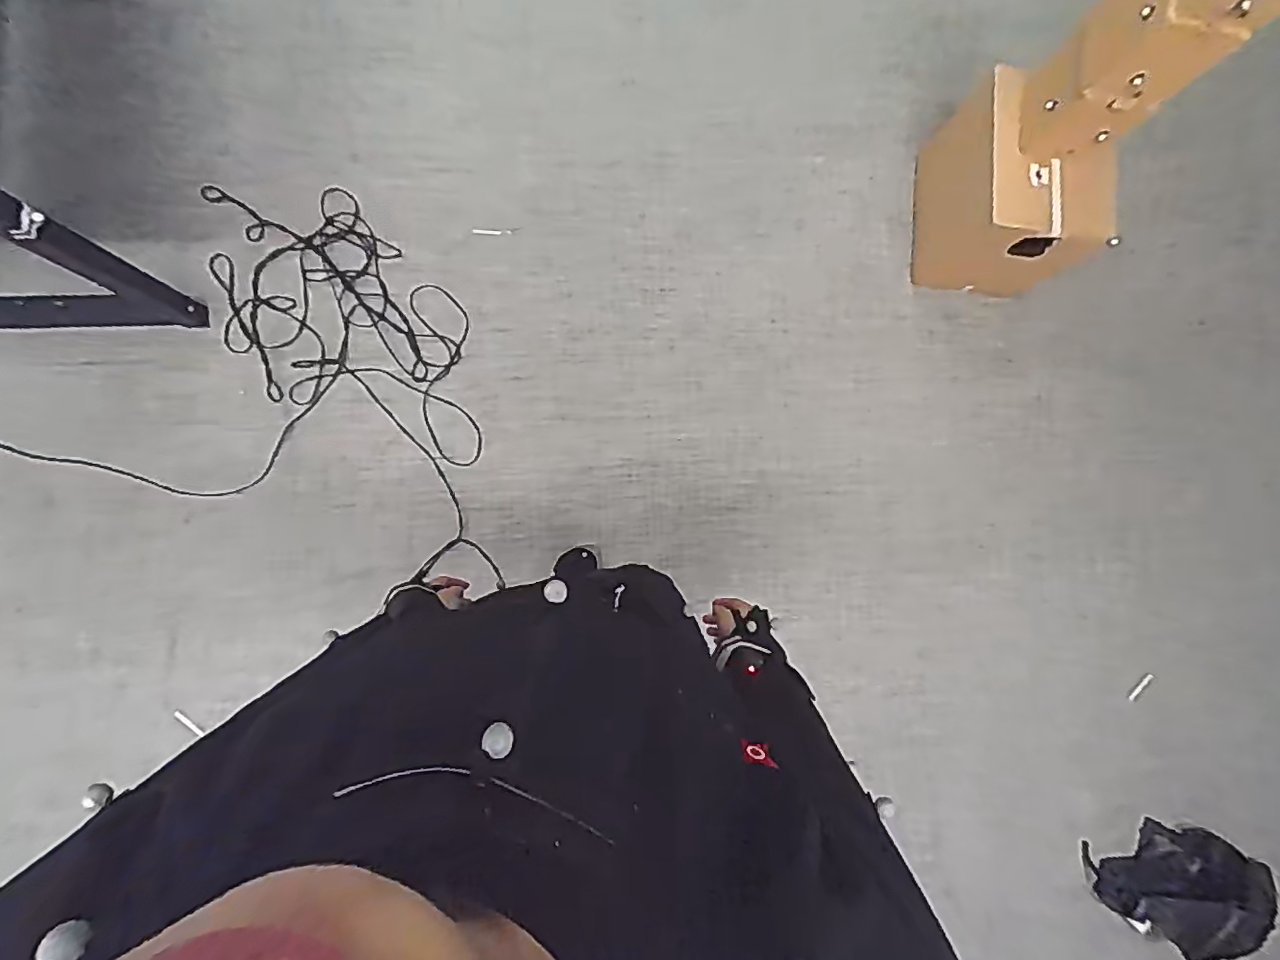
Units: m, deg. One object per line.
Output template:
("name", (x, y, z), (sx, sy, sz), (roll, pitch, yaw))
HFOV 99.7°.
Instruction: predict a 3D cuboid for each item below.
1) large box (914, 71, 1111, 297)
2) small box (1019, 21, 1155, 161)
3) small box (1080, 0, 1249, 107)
("large box", (0.949, -0.746, 1.414), (0.320, 0.320, 0.408), (4, 86, -4))
("small box", (0.965, -0.836, 1.180), (0.168, 0.176, 0.179), (4, 84, -7))
("small box", (0.976, -0.857, 1.019), (0.168, 0.176, 0.179), (6, 85, -7))
